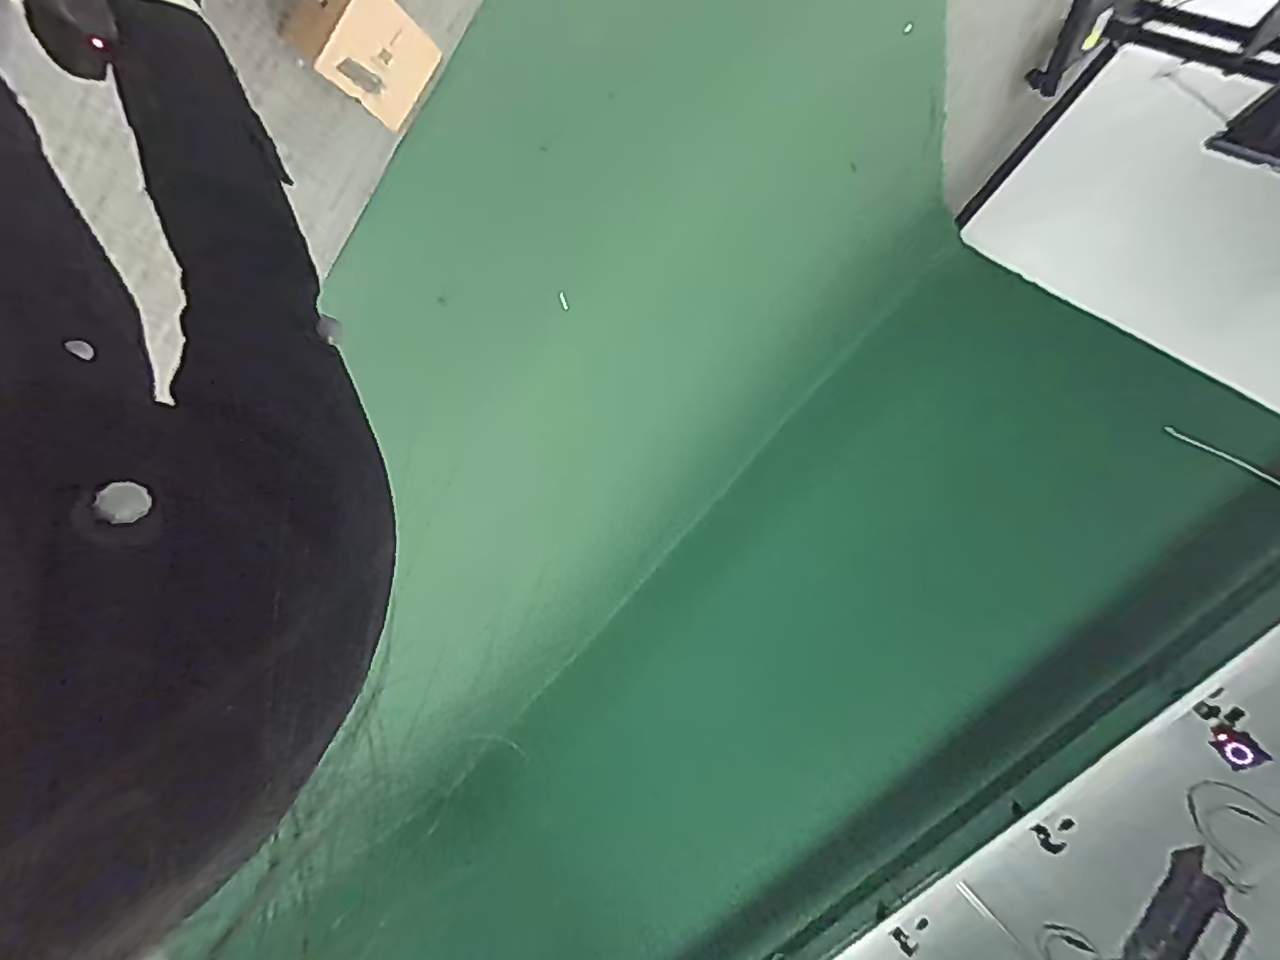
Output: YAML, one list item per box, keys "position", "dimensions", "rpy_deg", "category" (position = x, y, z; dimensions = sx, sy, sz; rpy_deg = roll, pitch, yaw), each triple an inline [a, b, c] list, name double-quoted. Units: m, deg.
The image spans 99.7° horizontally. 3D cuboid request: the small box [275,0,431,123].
- position: [-0.528, -0.814, 0.988]
  dimensions: [0.179, 0.176, 0.168]
  rpy_deg: [-50, 155, 12]
  category: "small box"
